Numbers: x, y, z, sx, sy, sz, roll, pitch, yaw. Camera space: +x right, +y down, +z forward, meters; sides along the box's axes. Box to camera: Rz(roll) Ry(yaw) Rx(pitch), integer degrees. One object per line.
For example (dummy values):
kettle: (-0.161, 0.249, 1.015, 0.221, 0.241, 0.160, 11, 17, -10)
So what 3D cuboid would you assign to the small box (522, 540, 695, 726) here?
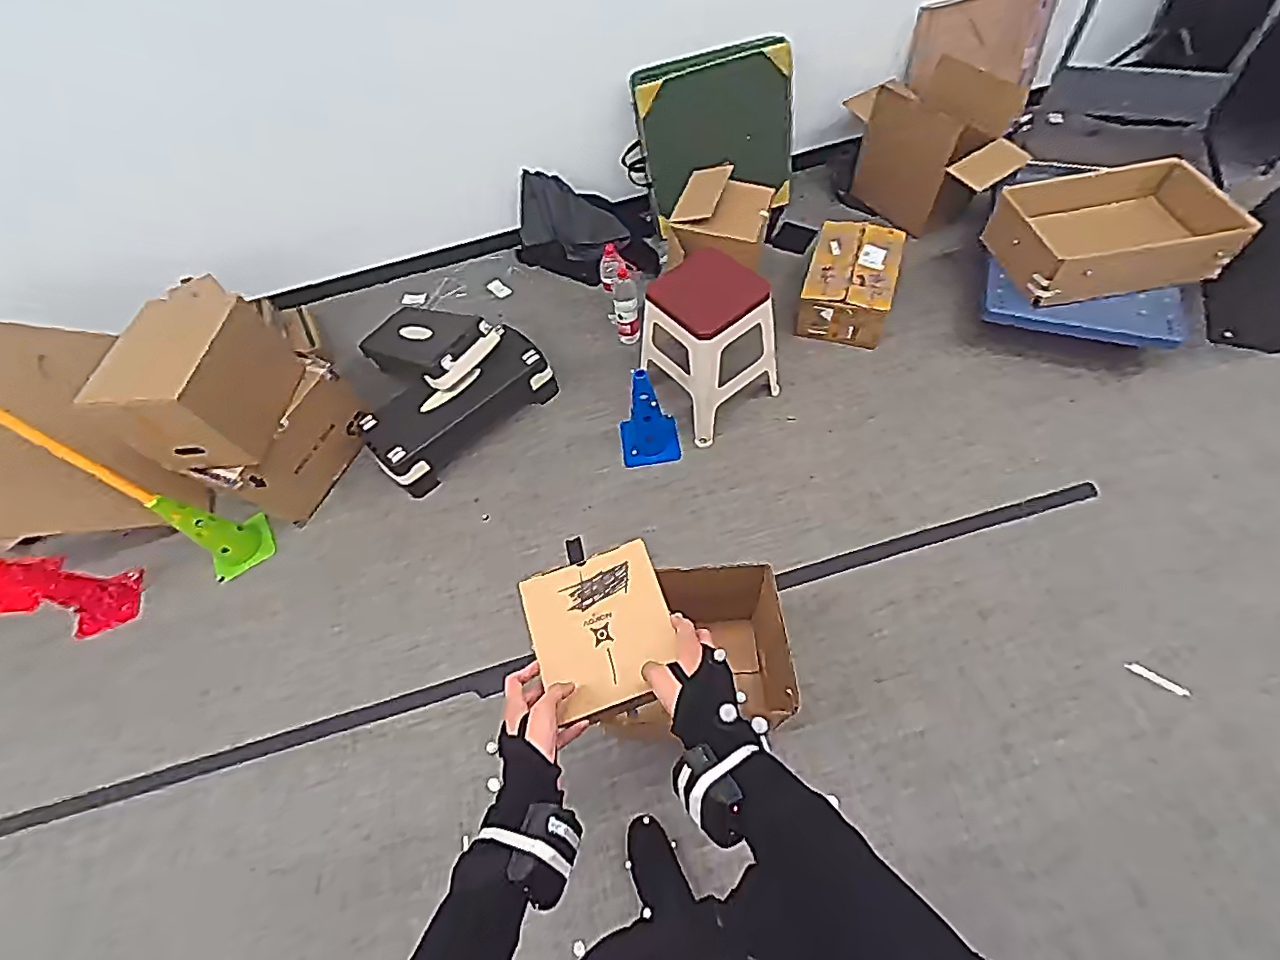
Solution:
small box: (-0.035, 0.204, 0.700, 0.168, 0.176, 0.179, -20, 66, -2)
